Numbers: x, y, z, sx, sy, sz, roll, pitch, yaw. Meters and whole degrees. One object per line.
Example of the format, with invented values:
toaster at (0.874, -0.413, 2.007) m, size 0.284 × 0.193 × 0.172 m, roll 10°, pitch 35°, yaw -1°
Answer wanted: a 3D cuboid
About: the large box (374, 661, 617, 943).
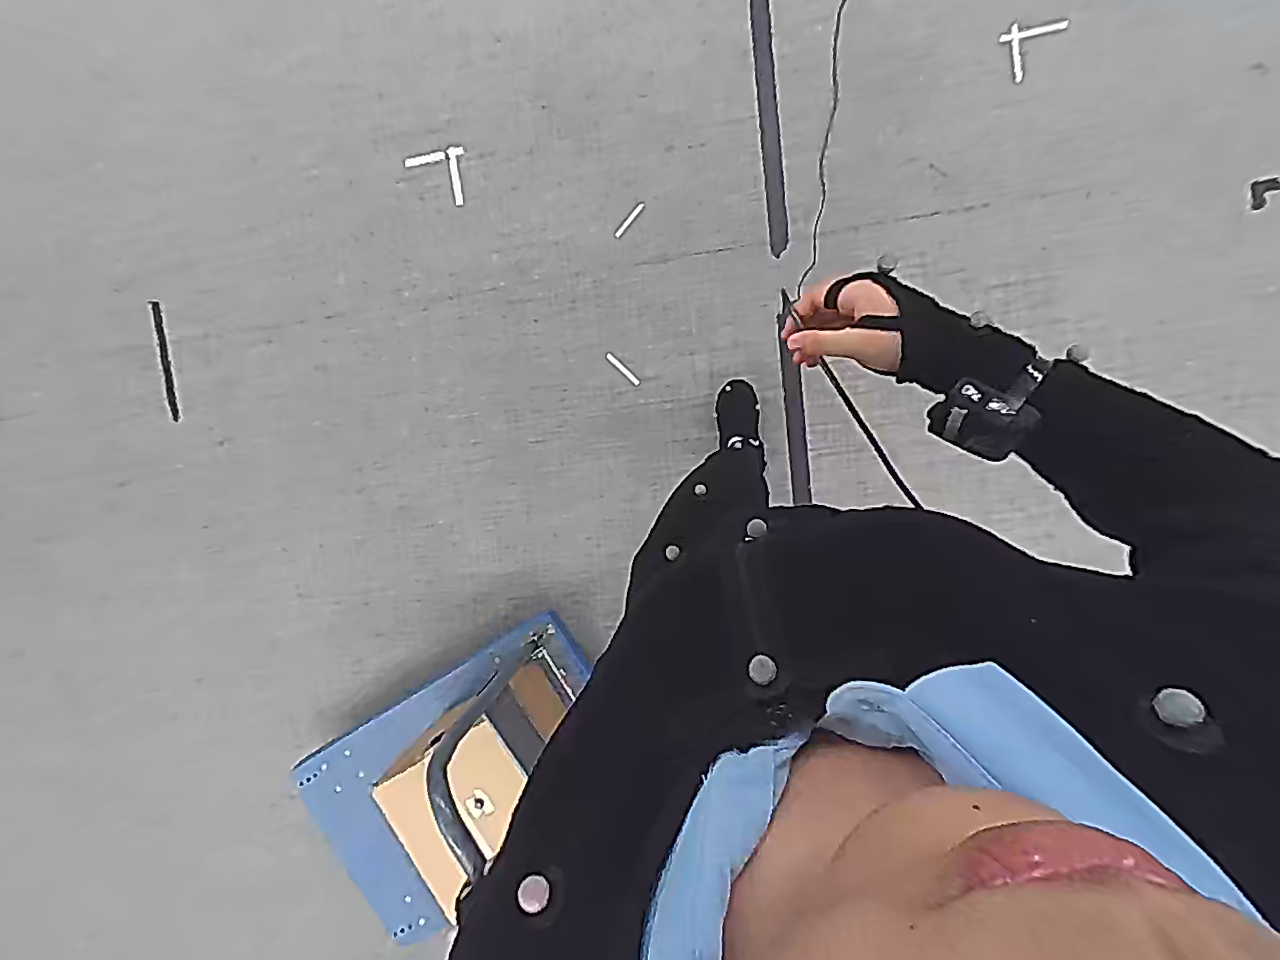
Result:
large box at (-0.305, 0.711, 1.251) m, size 0.320 × 0.320 × 0.408 m, roll -33°, pitch 89°, yaw 7°
